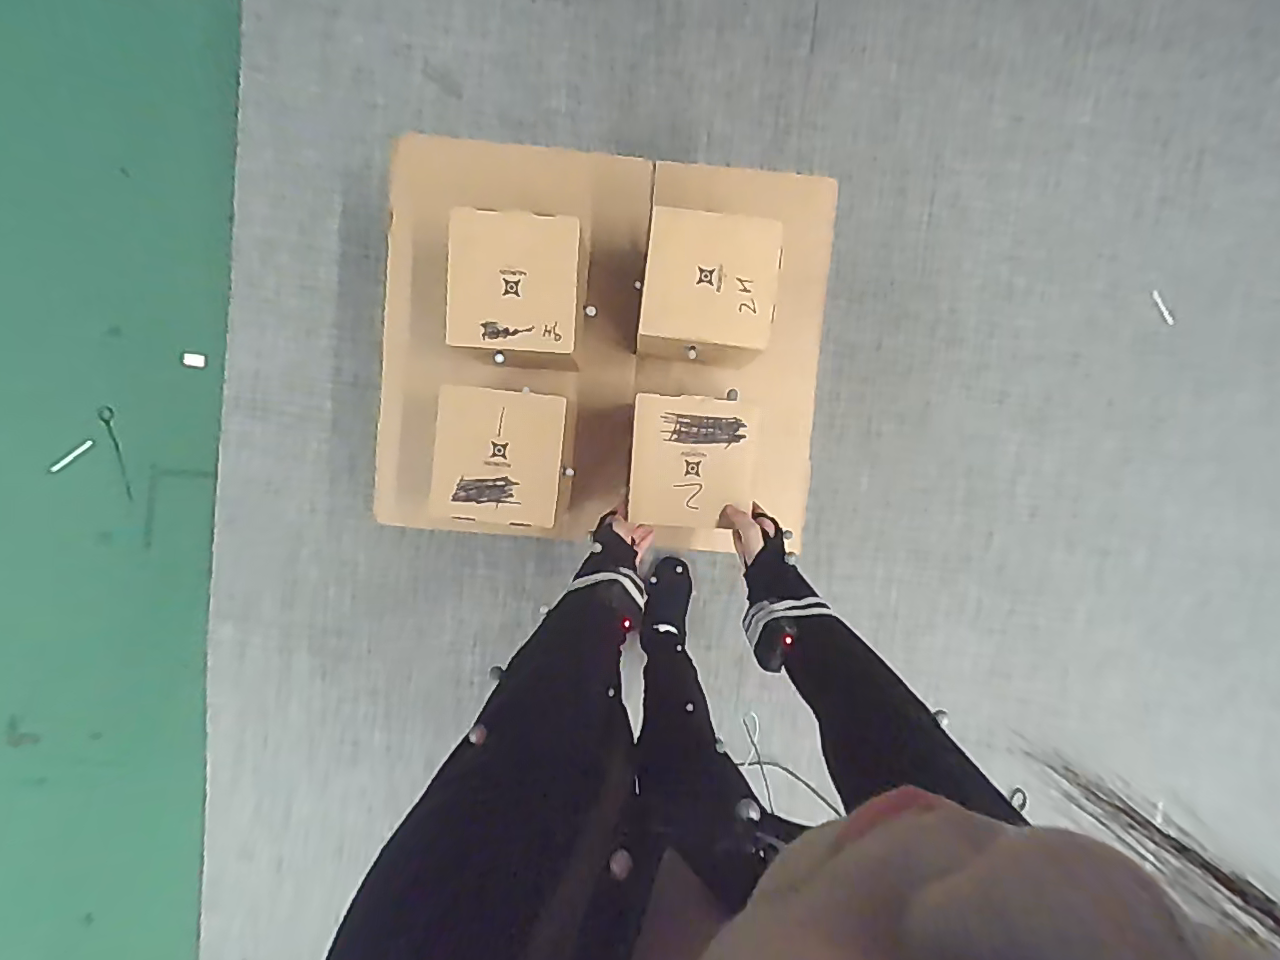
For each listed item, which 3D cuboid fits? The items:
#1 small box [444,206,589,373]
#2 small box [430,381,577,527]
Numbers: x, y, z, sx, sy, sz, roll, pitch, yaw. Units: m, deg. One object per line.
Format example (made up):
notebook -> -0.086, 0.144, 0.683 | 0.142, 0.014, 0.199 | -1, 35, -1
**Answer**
small box -> -0.164, -0.258, 0.767 | 0.168, 0.176, 0.179 | 4, 92, 0
small box -> -0.186, -0.037, 0.781 | 0.168, 0.176, 0.179 | 6, 93, -1
